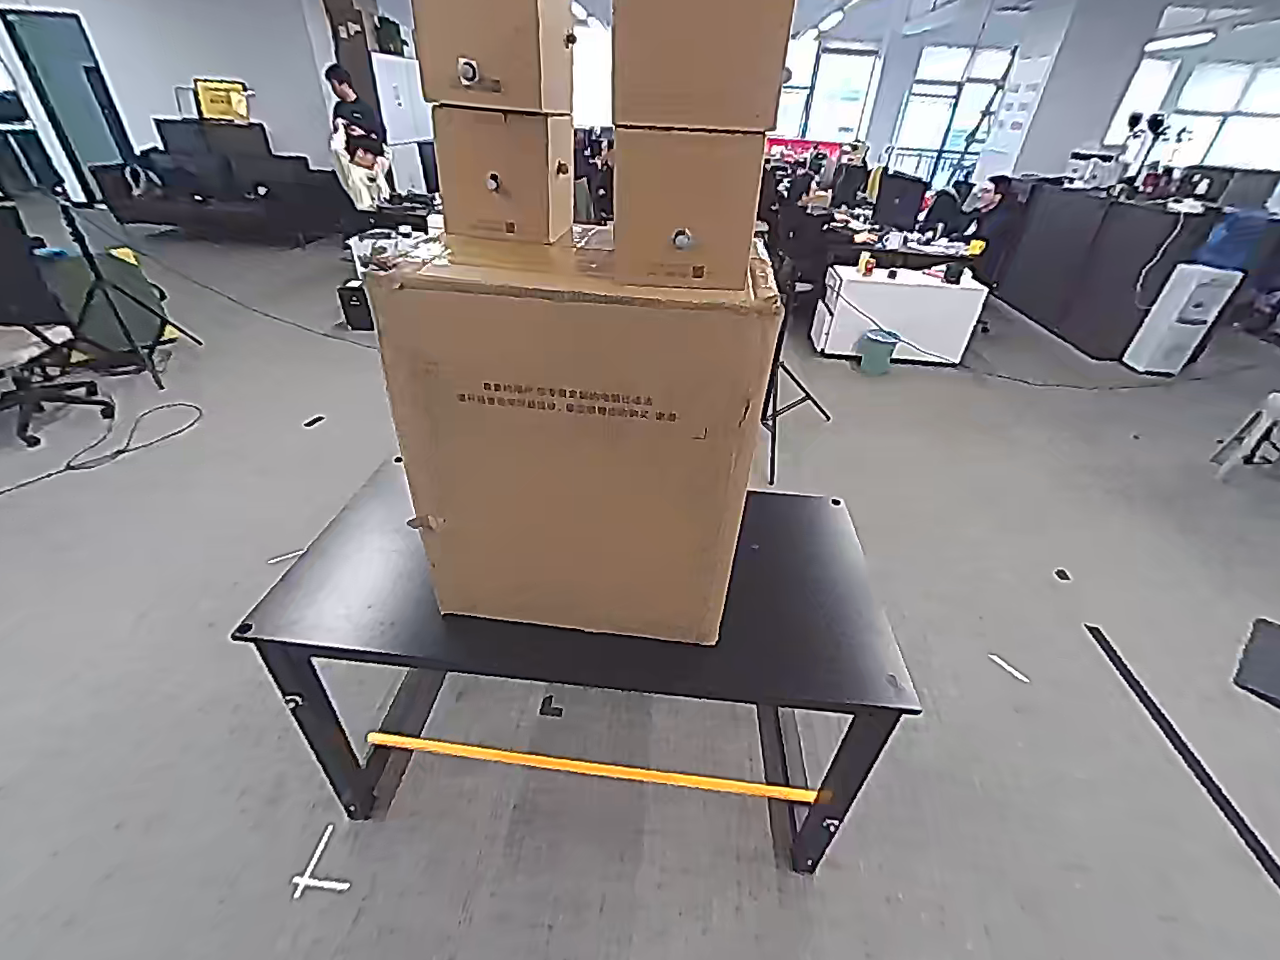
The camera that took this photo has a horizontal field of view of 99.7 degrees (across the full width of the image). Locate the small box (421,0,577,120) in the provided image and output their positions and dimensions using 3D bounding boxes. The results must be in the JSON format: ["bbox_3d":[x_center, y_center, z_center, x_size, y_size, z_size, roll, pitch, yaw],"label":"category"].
[{"bbox_3d":[-0.186,-0.599,0.737,0.168,0.176,0.179,7,35,4],"label":"small box"}]

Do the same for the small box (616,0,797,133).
[{"bbox_3d":[0.070,-0.478,0.584,0.179,0.176,0.168,5,36,3],"label":"small box"}]

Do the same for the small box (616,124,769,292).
[{"bbox_3d":[0.059,-0.352,0.689,0.168,0.176,0.179,3,36,2],"label":"small box"}]

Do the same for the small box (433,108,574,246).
[{"bbox_3d":[-0.198,-0.474,0.843,0.168,0.176,0.179,7,35,2],"label":"small box"}]
